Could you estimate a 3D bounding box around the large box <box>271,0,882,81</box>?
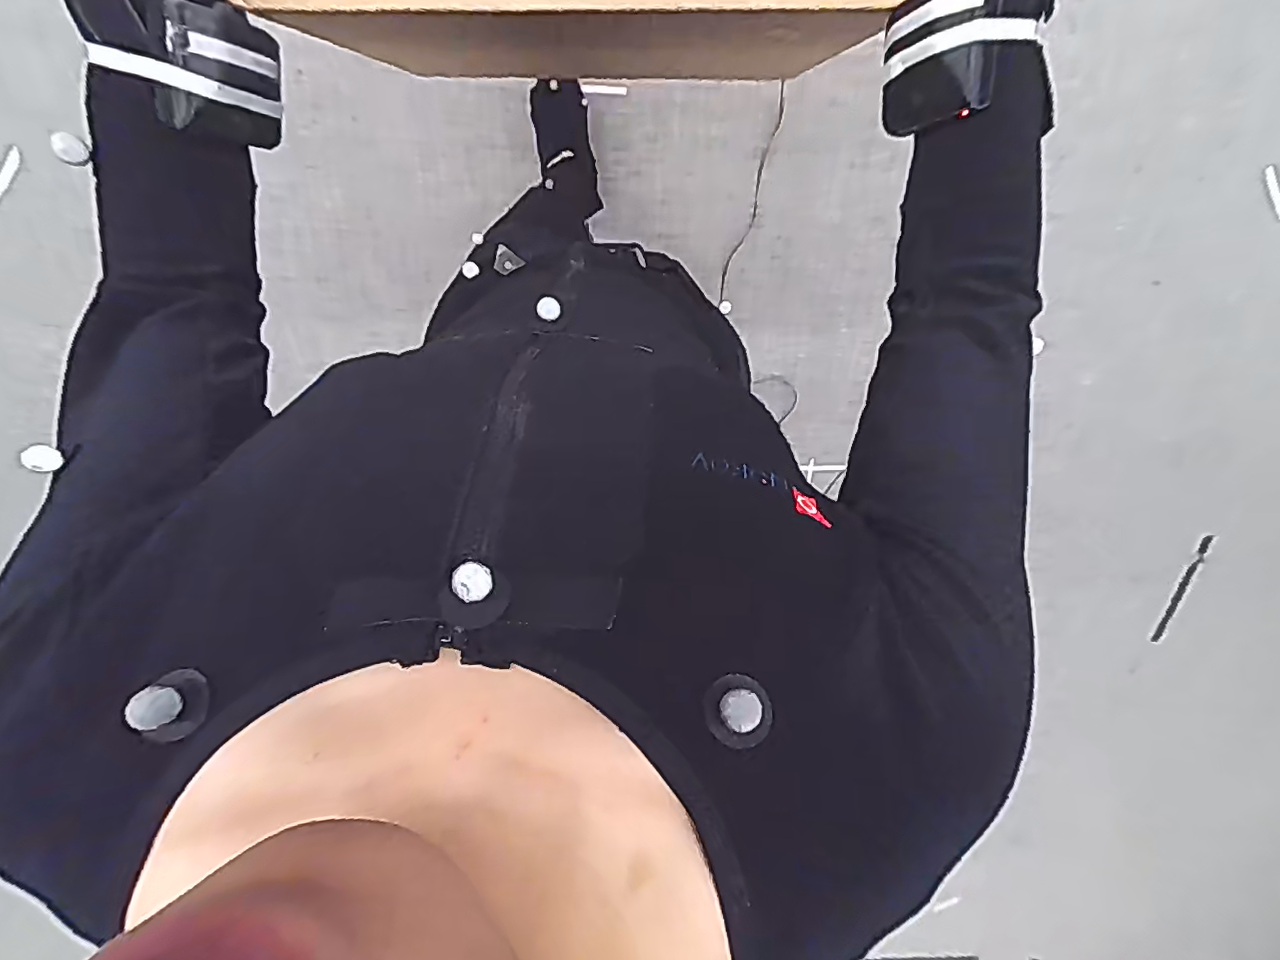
[{"bbox_3d":[-0.035,-0.494,0.375,0.408,0.320,0.320,-1,121,0],"label":"large box"}]
